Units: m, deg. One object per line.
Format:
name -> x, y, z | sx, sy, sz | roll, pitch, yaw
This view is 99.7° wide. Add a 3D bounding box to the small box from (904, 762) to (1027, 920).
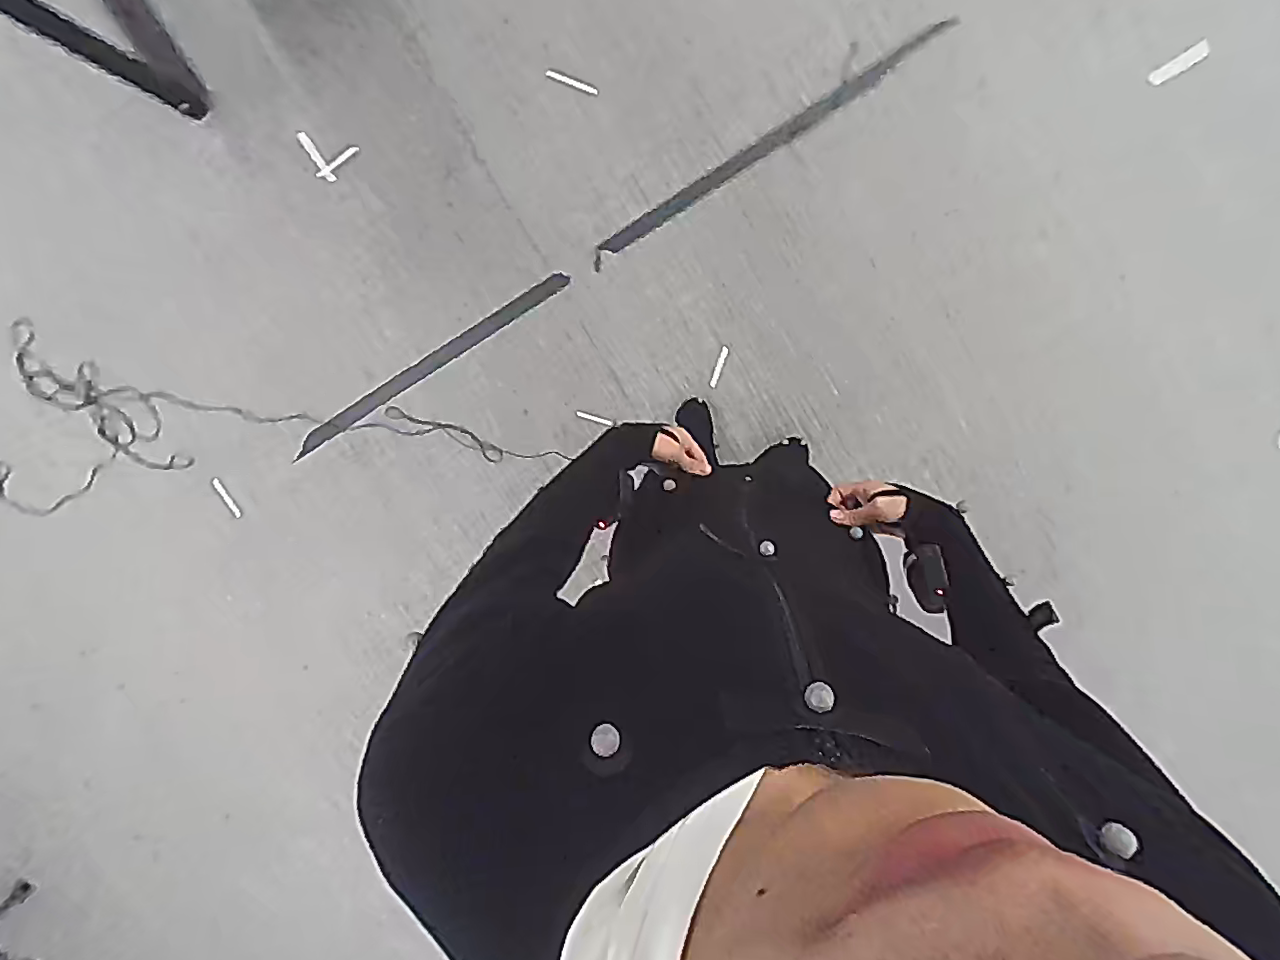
small box -> 0.653, 0.686, 1.049 | 0.168, 0.176, 0.179 | -34, 98, 8
